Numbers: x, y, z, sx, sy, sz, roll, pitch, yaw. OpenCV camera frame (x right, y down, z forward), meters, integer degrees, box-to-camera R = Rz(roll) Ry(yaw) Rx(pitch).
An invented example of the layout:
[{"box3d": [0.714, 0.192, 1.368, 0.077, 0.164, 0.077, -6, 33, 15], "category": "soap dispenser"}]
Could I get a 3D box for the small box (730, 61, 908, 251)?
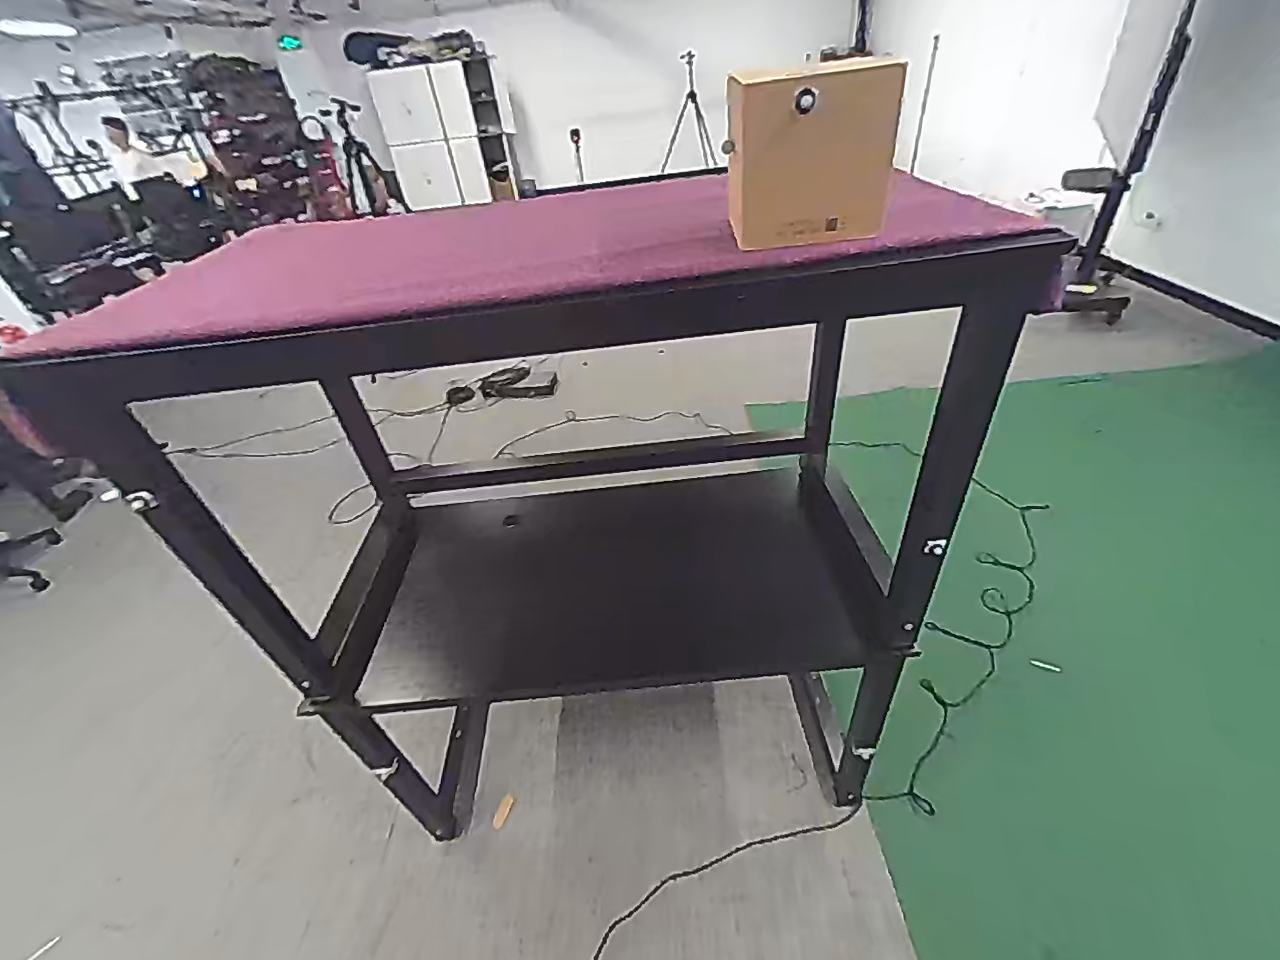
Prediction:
[{"box3d": [0.197, -0.390, 0.656, 0.168, 0.176, 0.179, -5, 38, 6], "category": "small box"}]
